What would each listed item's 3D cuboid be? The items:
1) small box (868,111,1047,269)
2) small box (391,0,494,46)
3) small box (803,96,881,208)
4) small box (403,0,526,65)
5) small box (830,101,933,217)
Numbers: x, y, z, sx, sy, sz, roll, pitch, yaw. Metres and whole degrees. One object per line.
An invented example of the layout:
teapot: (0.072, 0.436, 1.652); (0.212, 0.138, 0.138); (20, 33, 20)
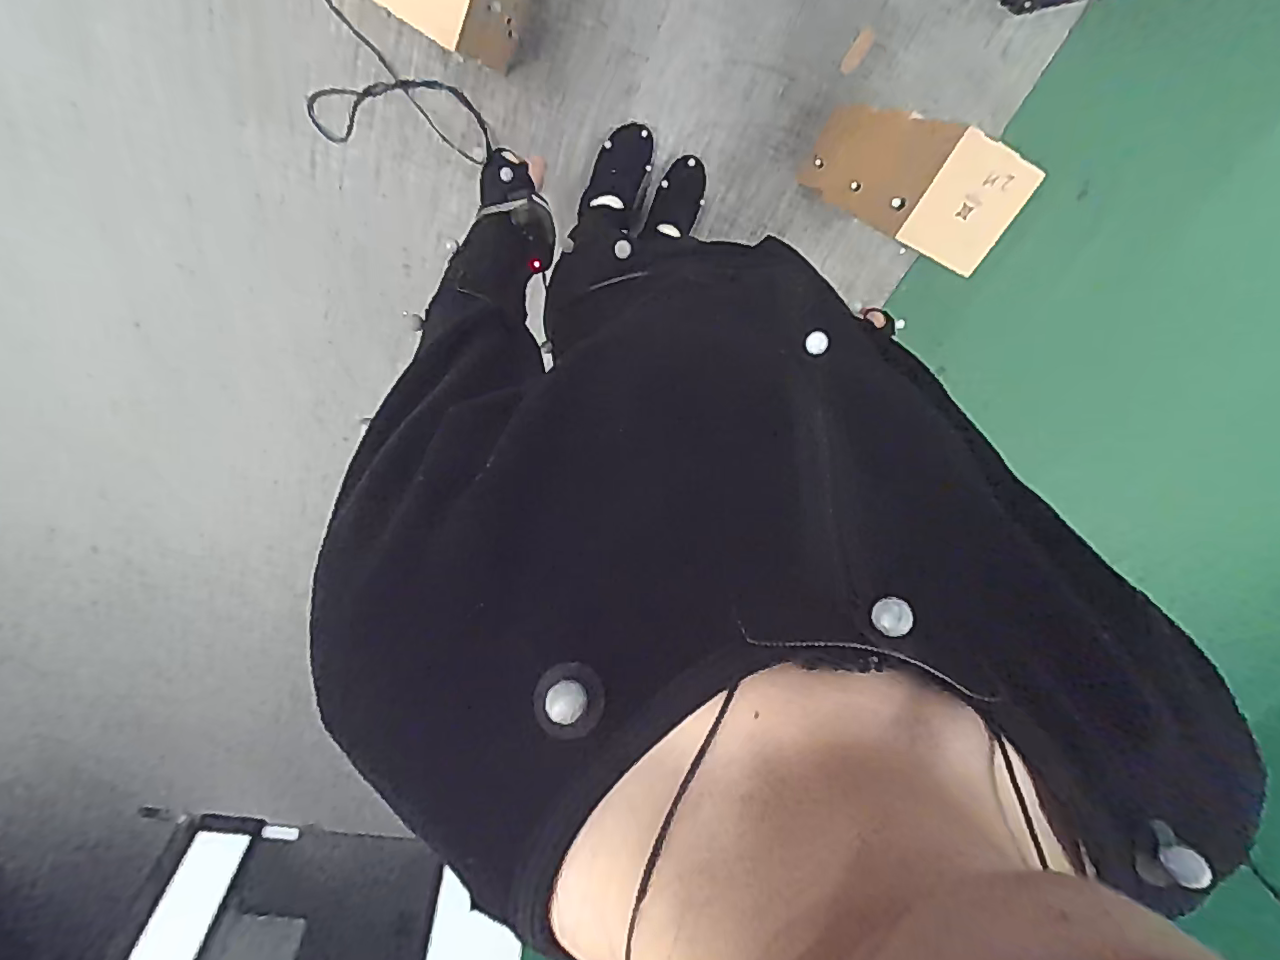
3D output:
small box: (0.521, -0.496, 0.923); (0.168, 0.176, 0.179); (18, 123, -17)
small box: (-0.282, -0.707, 0.704); (0.179, 0.176, 0.168); (23, 120, -20)
small box: (0.486, -0.700, 1.176); (0.179, 0.176, 0.168); (20, 122, -18)
small box: (-0.303, -0.890, 0.977); (0.168, 0.176, 0.179); (22, 121, -19)
small box: (0.501, -0.603, 1.047); (0.168, 0.176, 0.179); (17, 123, -16)
